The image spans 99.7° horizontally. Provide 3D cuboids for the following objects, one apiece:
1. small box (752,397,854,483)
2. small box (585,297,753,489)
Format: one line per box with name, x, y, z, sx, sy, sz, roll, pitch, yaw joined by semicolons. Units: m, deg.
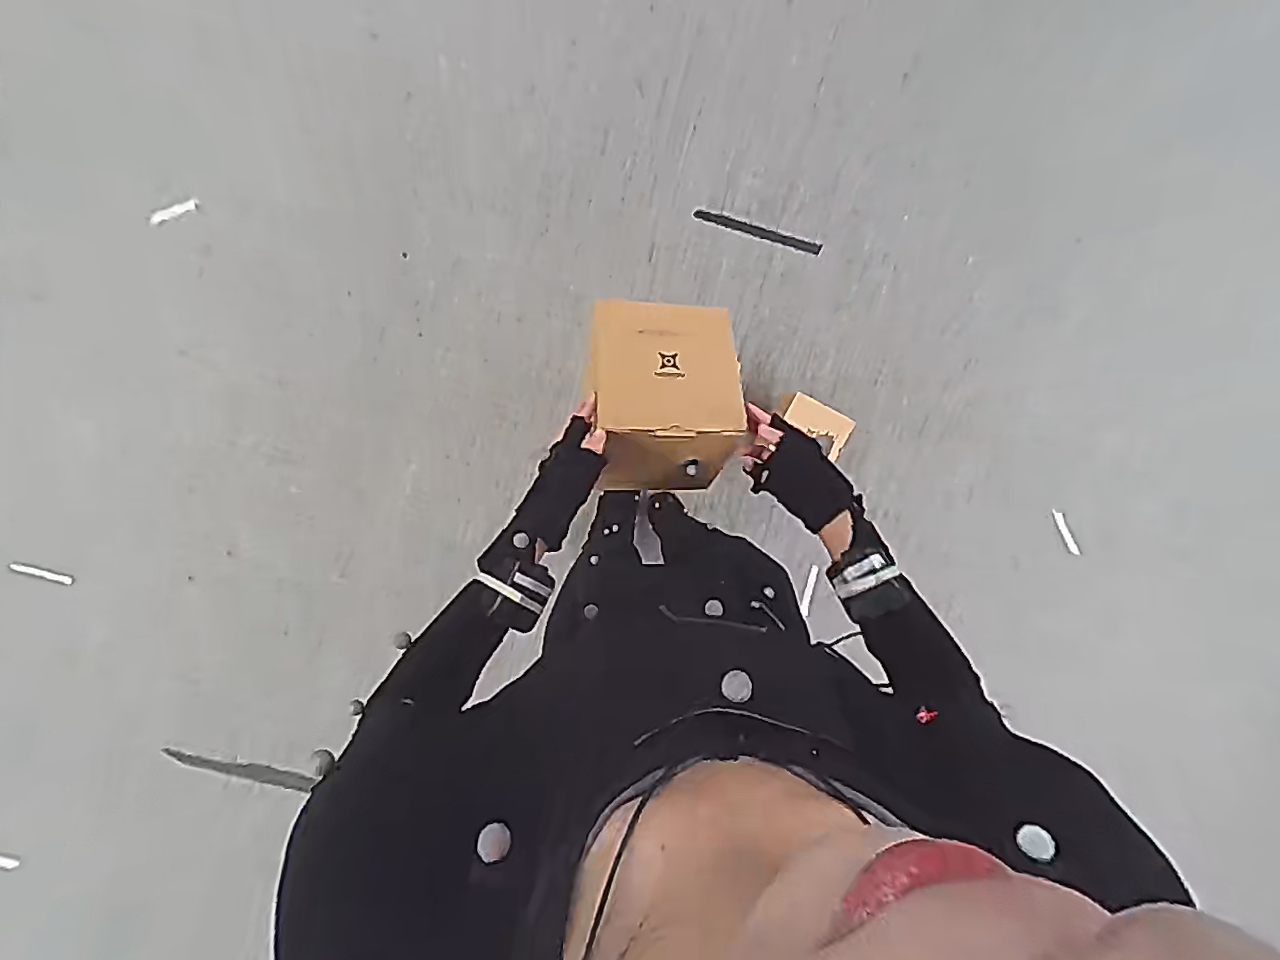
small box;0.427;-0.107;1.444;0.179;0.176;0.168;28;91;-4
small box;0.023;-0.096;0.668;0.168;0.176;0.179;0;65;-12
